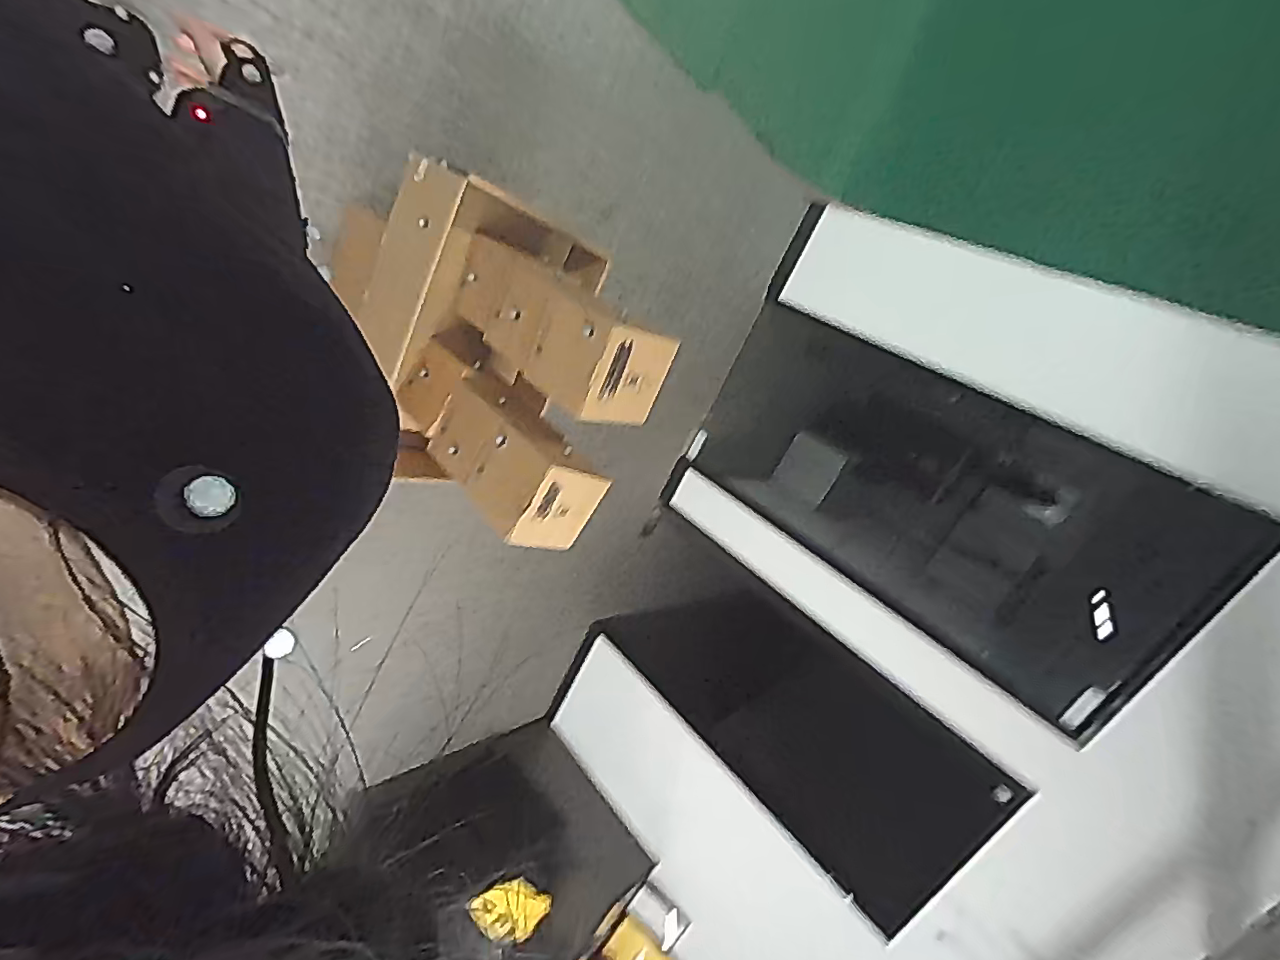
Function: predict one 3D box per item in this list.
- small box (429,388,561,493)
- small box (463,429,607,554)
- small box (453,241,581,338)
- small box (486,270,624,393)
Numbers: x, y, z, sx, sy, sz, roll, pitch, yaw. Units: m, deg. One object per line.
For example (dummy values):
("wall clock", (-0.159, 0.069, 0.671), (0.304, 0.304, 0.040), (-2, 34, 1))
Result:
("small box", (-0.306, -0.071, 1.127), (0.179, 0.176, 0.168), (14, 112, -55))
("small box", (-0.204, 0.021, 1.038), (0.168, 0.176, 0.179), (-55, 148, 10))
("small box", (-0.265, -0.388, 1.158), (0.179, 0.176, 0.168), (1, 122, -51))
("small box", (-0.172, -0.292, 1.062), (0.179, 0.176, 0.168), (1, 123, -51))
